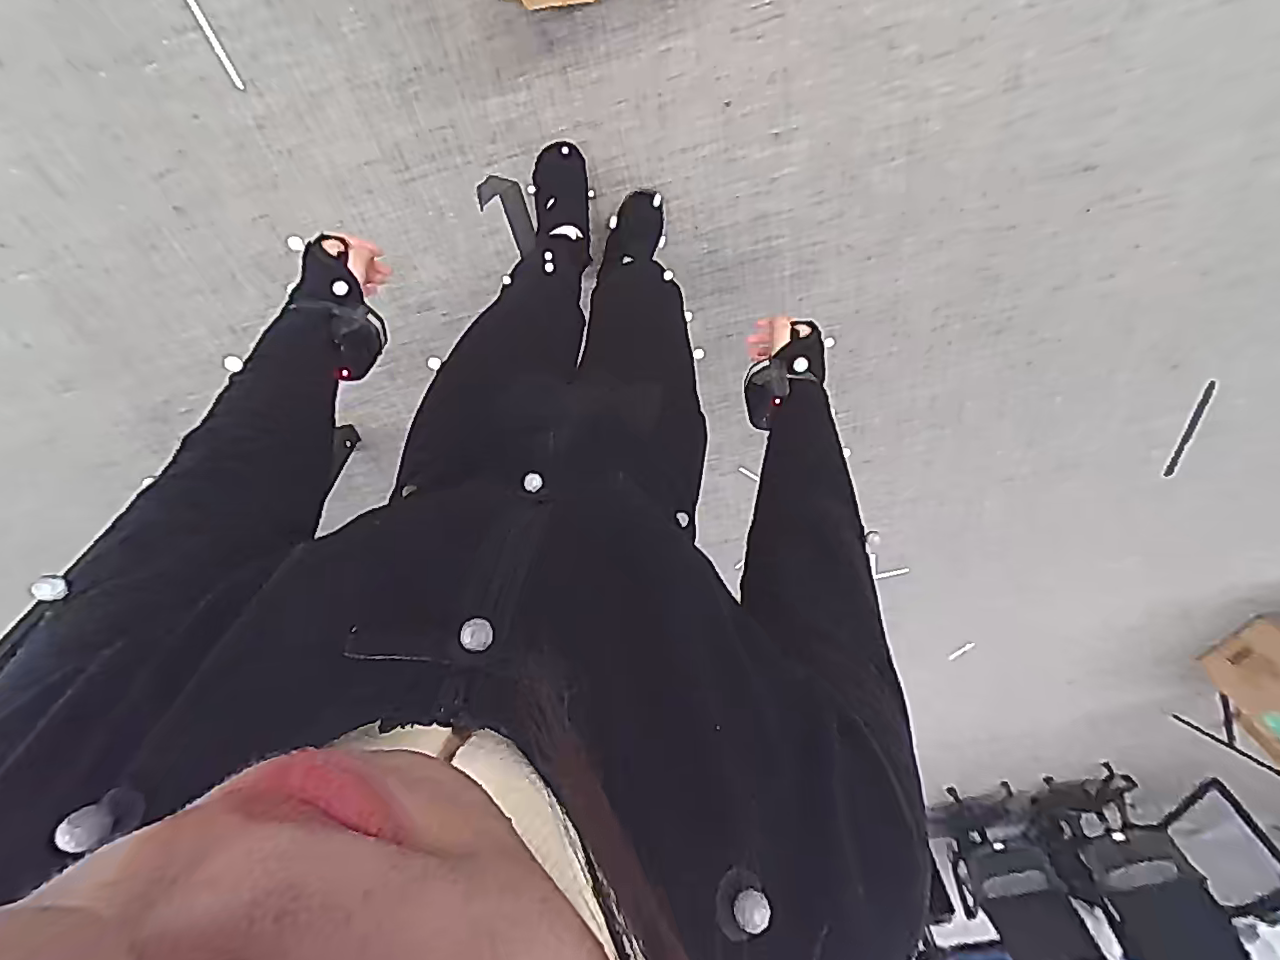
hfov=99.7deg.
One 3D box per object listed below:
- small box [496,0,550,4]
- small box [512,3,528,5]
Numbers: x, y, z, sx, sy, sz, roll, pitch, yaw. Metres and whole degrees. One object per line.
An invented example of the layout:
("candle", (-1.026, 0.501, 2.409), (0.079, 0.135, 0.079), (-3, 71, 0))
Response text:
("small box", (-0.122, -0.750, 0.711), (0.168, 0.176, 0.179), (-8, 130, 0))
("small box", (-0.141, -0.860, 0.834), (0.179, 0.176, 0.168), (-12, 130, 2))
